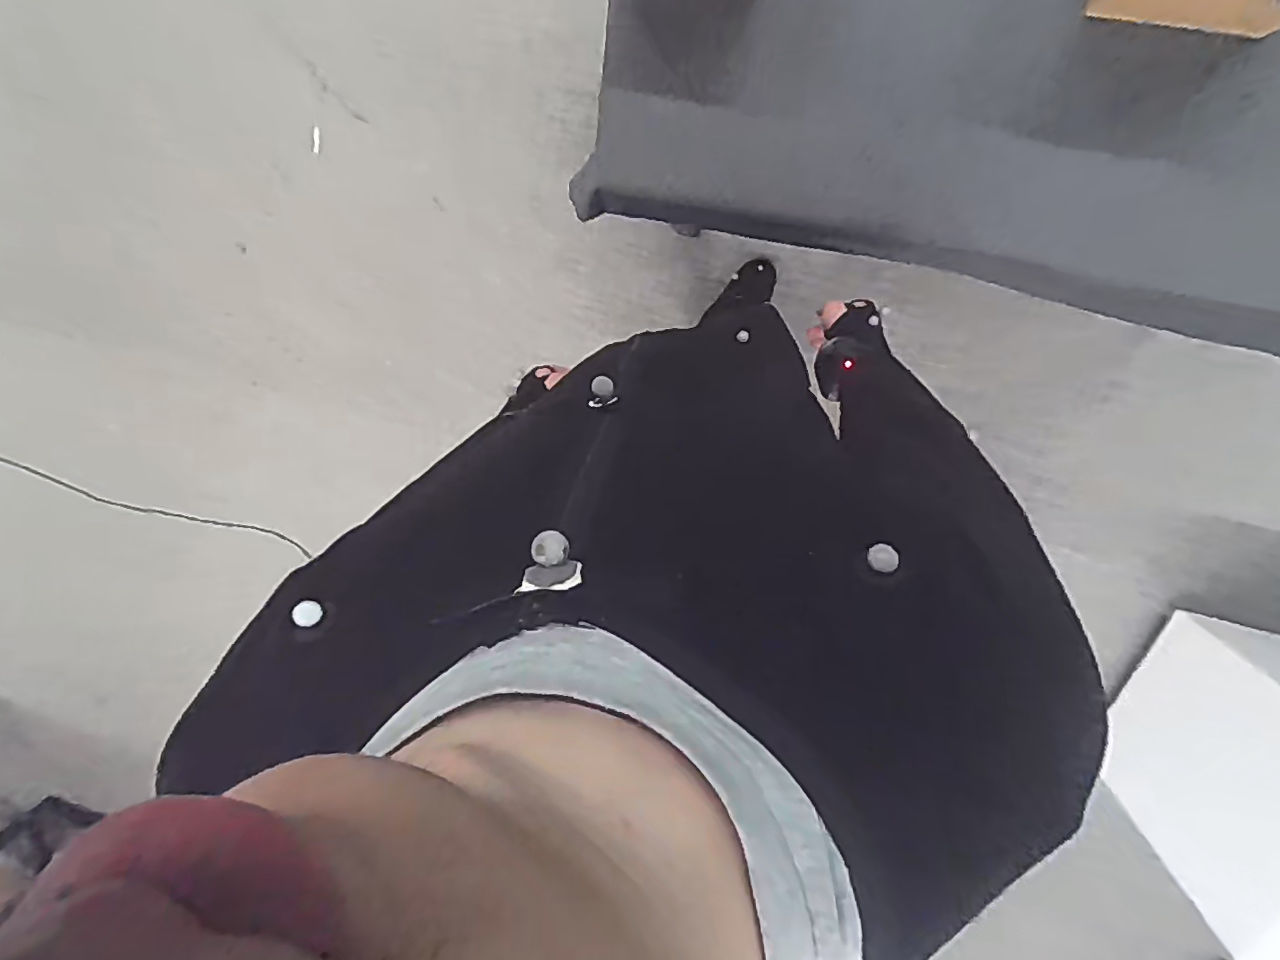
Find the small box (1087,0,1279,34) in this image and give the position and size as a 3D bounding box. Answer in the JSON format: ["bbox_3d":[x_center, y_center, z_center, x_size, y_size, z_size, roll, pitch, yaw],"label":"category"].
[{"bbox_3d":[0.555,-0.524,0.466,0.179,0.176,0.168,13,110,6],"label":"small box"}]
